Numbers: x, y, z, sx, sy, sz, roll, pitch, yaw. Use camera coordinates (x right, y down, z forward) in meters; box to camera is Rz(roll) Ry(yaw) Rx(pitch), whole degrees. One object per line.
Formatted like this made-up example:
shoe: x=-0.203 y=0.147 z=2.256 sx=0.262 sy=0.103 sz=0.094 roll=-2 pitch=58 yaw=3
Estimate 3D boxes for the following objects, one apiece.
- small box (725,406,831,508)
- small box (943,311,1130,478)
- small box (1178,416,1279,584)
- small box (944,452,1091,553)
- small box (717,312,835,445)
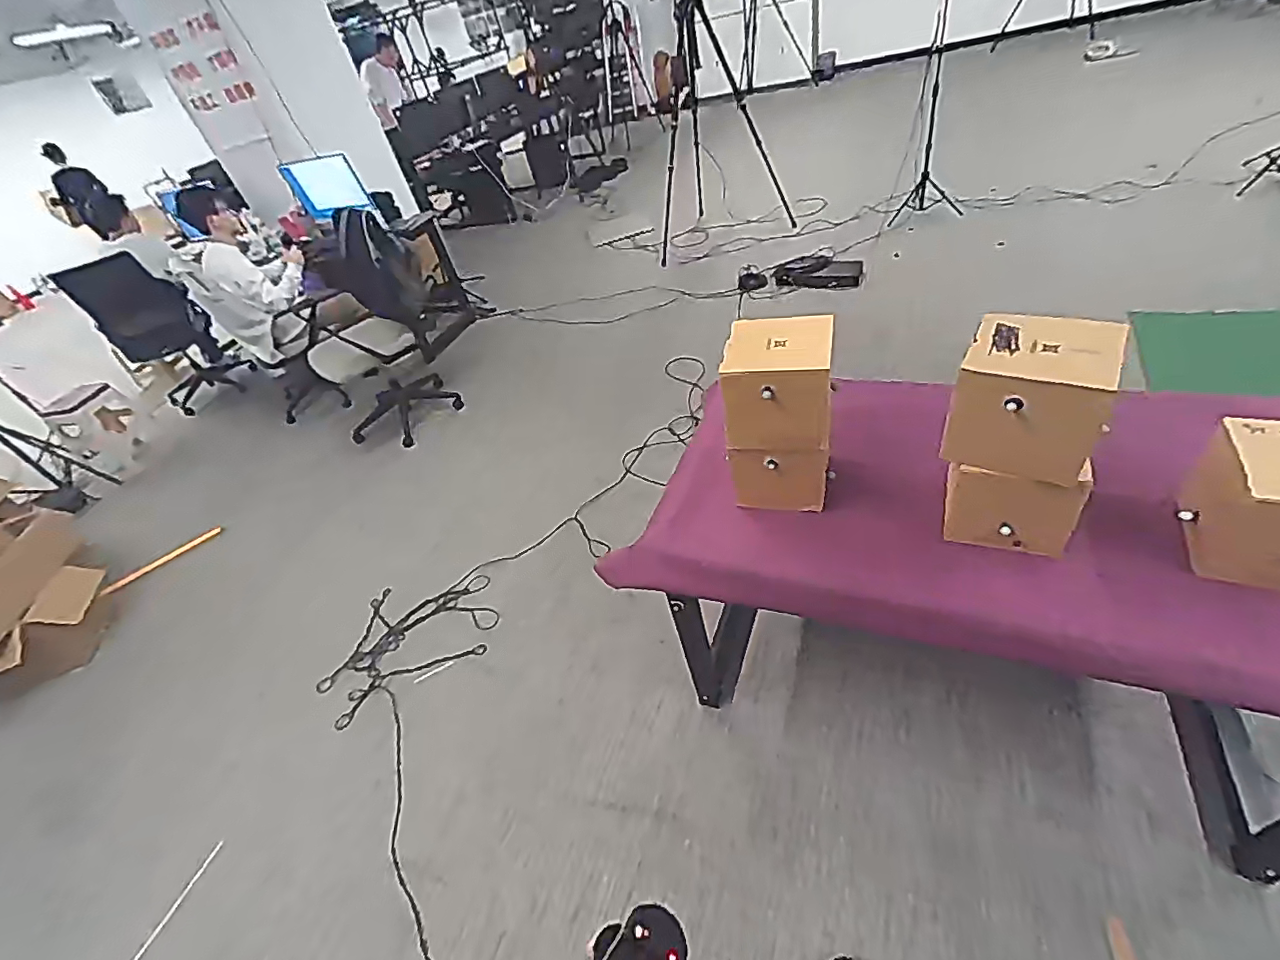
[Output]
small box: x=0.276 y=-0.061 z=1.061 sx=0.179 sy=0.176 sz=0.168 roll=4 pitch=46 yaw=21
small box: x=0.565 y=-0.125 z=0.788 sx=0.179 sy=0.176 sz=0.168 roll=19 pitch=52 yaw=32
small box: x=0.902 y=0.035 z=0.753 sx=0.168 sy=0.176 sz=0.179 roll=10 pitch=48 yaw=27
small box: x=0.611 y=-0.008 z=0.894 sx=0.168 sy=0.176 sz=0.179 roll=9 pitch=48 yaw=26
small box: x=0.244 y=-0.173 z=0.948 sx=0.179 sy=0.176 sz=0.168 roll=2 pitch=46 yaw=21
